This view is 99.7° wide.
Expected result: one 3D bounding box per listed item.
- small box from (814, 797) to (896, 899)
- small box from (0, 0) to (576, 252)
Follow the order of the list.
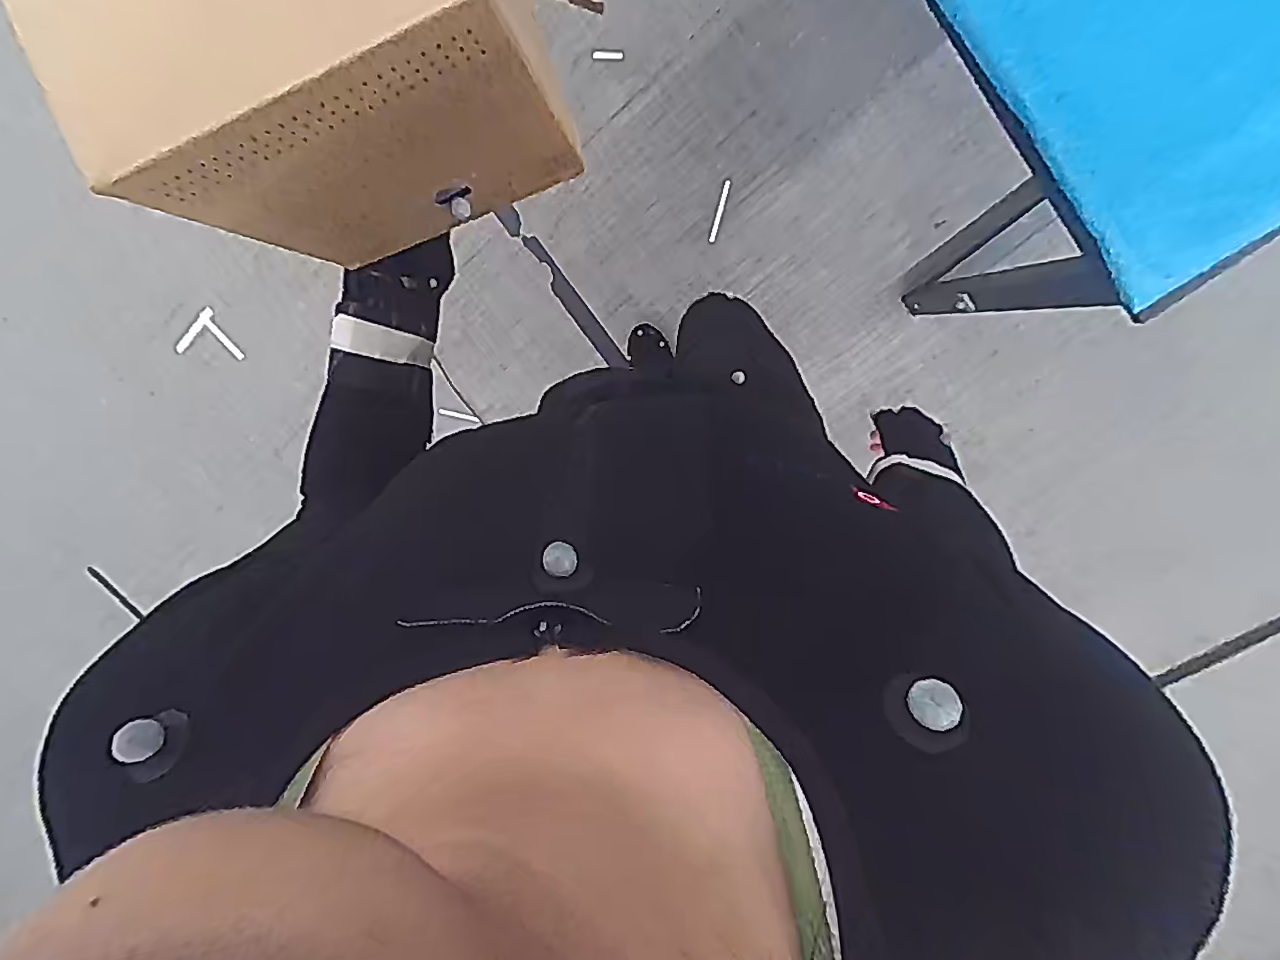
[{"bbox_3d":[0.580,0.994,1.475,0.168,0.176,0.179,-12,105,13],"label":"small box"},{"bbox_3d":[-0.155,-0.236,0.259,0.179,0.176,0.168,-17,99,10],"label":"small box"}]
